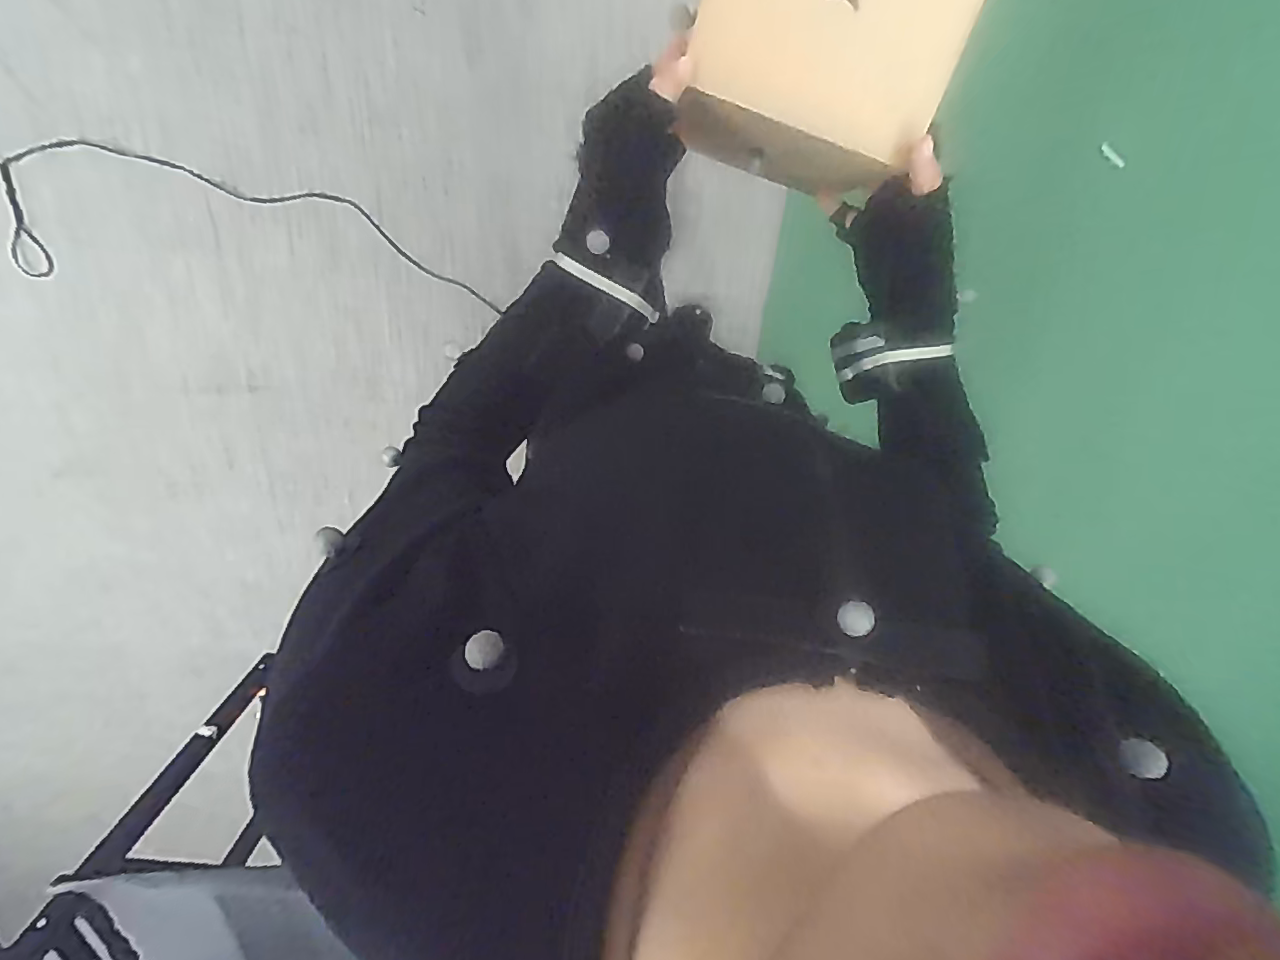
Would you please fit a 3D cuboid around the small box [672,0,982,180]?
[{"bbox_3d":[0.126,-0.340,0.388,0.168,0.176,0.179,16,110,-8],"label":"small box"}]
